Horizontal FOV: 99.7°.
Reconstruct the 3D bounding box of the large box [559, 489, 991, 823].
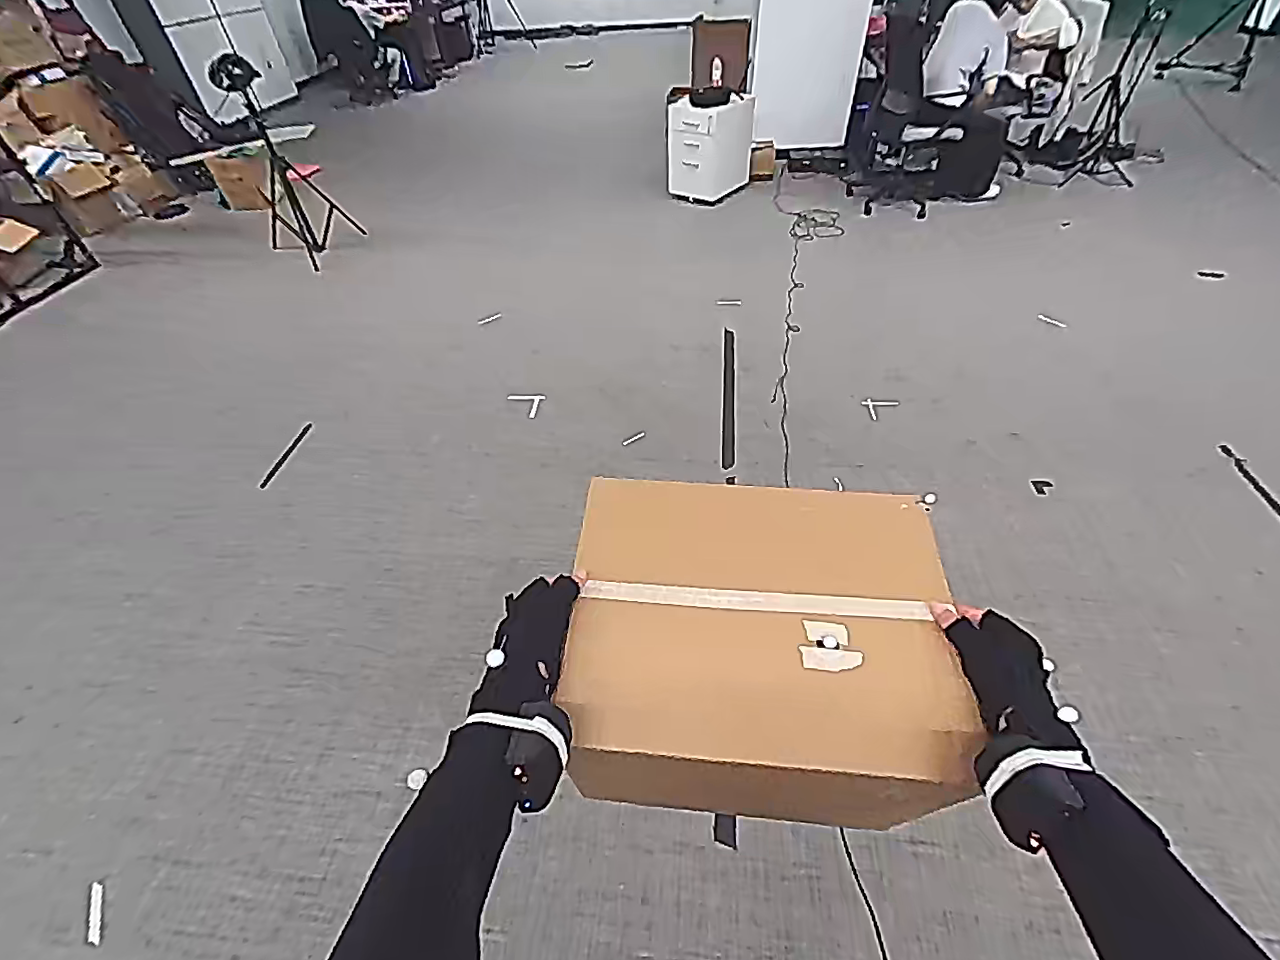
[{"bbox_3d":[0.132,0.232,0.703,0.408,0.320,0.320,3,52,4],"label":"large box"}]
